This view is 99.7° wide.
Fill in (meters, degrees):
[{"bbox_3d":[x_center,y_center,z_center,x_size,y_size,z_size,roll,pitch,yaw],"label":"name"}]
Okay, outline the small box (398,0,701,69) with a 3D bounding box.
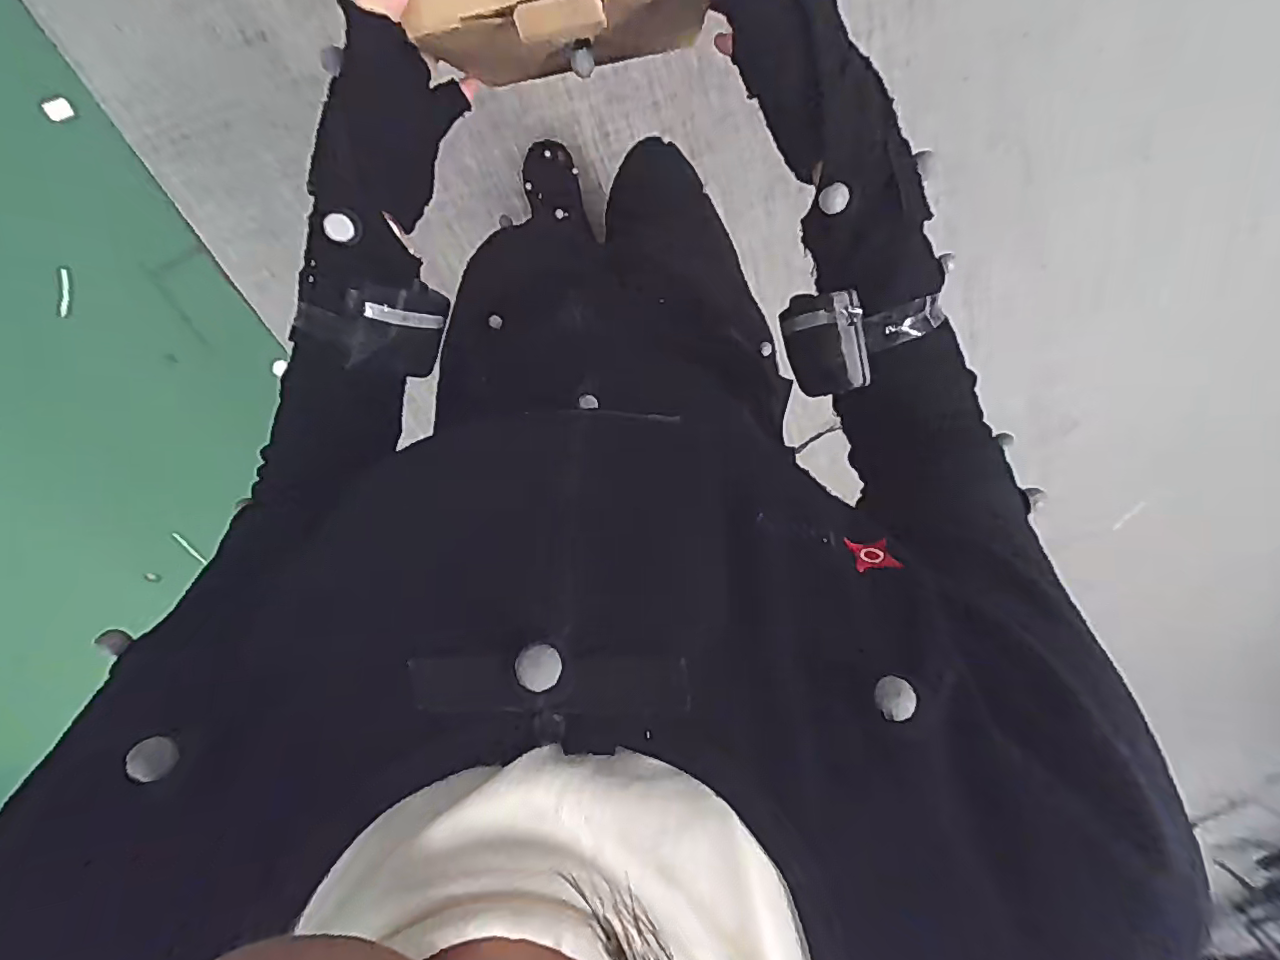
[{"bbox_3d":[-0.053,-0.356,0.302,0.168,0.176,0.179,-8,118,6],"label":"small box"}]
